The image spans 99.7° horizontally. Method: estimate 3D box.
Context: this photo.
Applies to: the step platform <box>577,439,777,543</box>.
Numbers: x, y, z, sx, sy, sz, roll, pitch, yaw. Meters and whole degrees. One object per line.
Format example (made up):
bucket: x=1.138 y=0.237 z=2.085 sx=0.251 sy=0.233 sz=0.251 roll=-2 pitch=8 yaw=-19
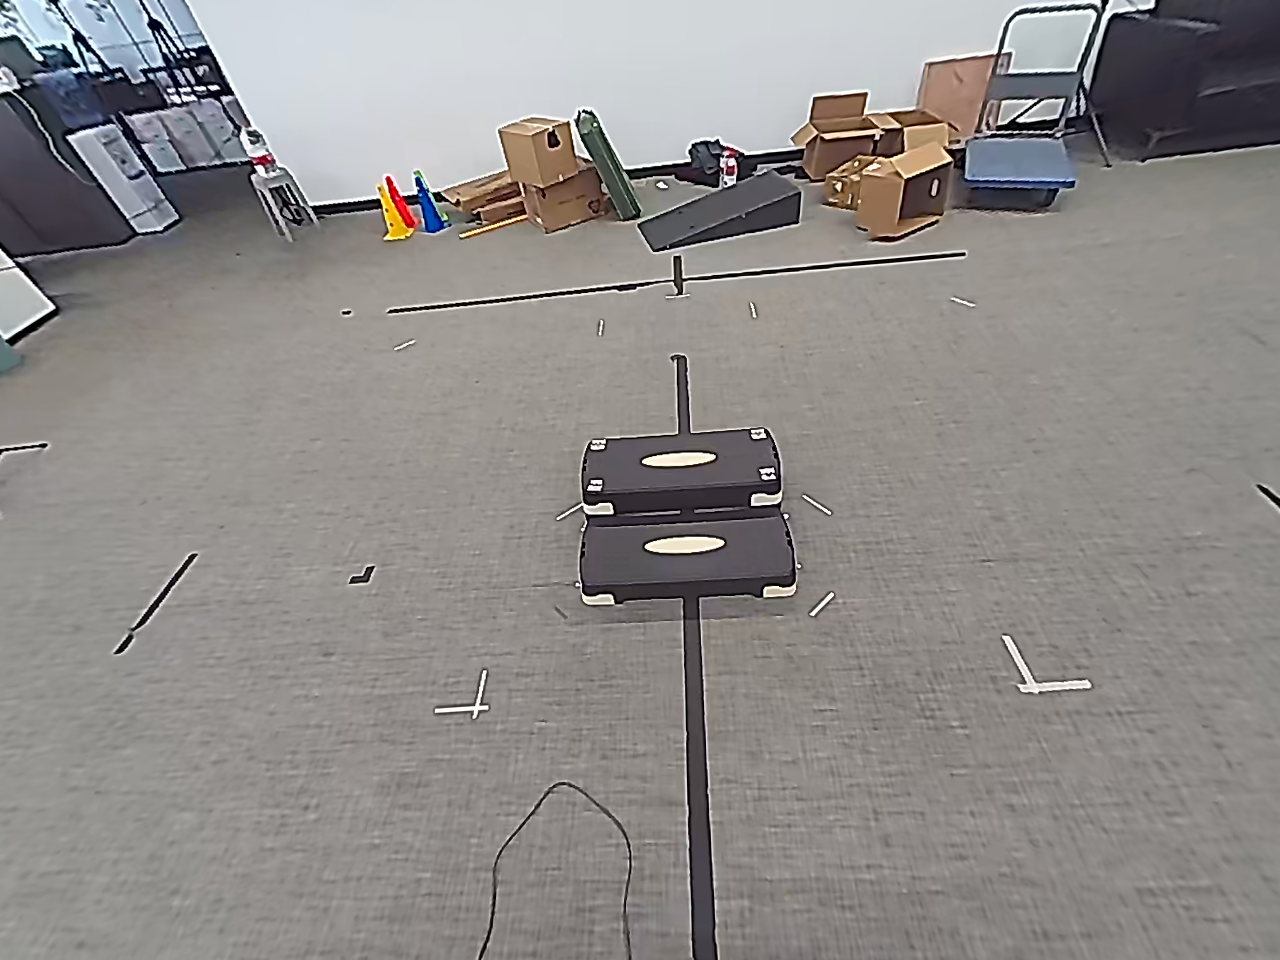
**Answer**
step platform: x=0.124 y=0.032 z=1.881 sx=0.684 sy=0.204 sz=0.286 roll=-4 pitch=46 yaw=4
